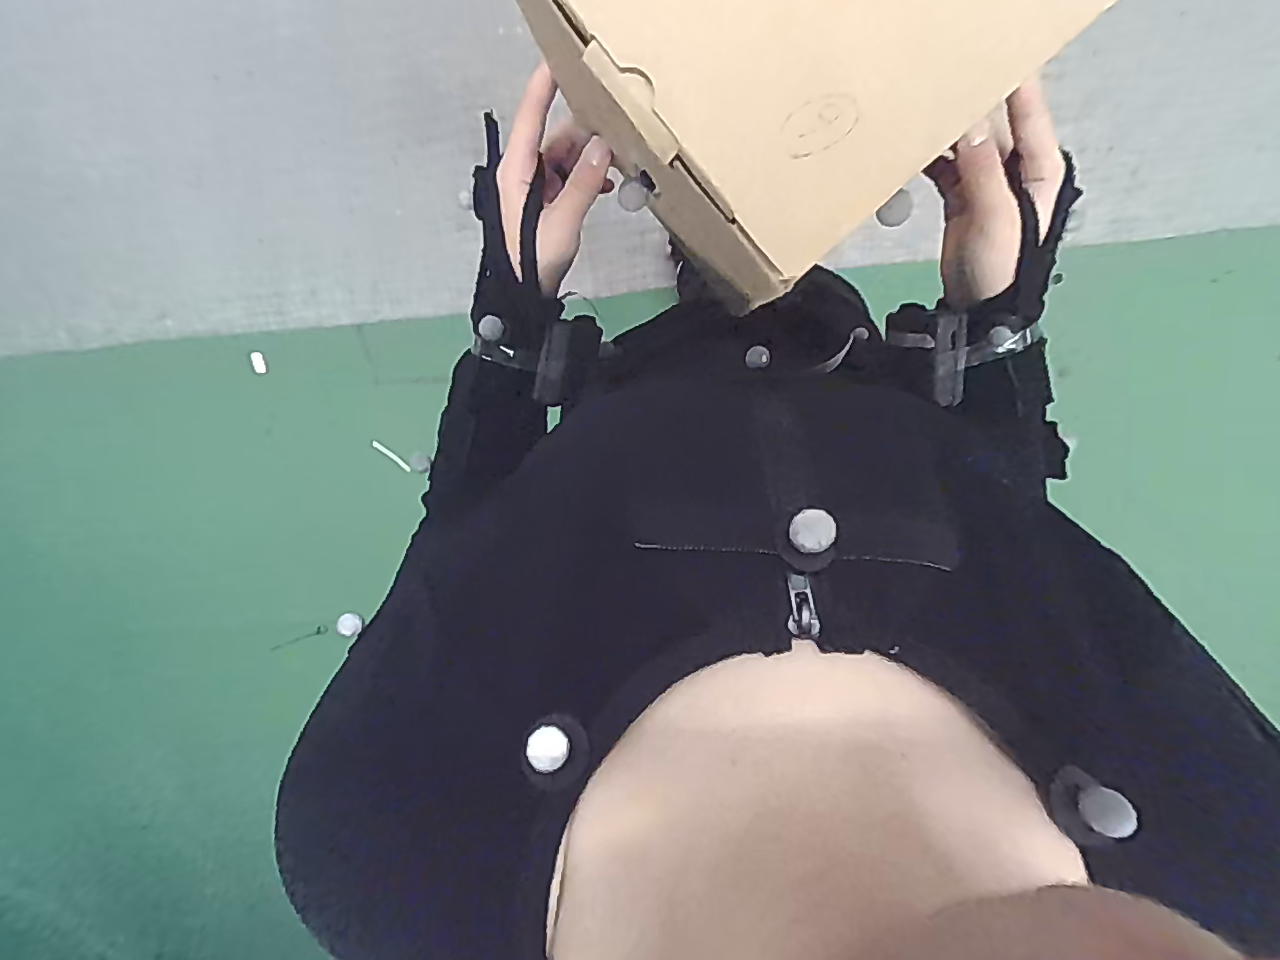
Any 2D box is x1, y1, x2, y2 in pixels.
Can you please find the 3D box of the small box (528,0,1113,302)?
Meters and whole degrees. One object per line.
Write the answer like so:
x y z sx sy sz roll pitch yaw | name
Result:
0.069 -0.201 0.241 0.179 0.176 0.168 -39 97 13 | small box
